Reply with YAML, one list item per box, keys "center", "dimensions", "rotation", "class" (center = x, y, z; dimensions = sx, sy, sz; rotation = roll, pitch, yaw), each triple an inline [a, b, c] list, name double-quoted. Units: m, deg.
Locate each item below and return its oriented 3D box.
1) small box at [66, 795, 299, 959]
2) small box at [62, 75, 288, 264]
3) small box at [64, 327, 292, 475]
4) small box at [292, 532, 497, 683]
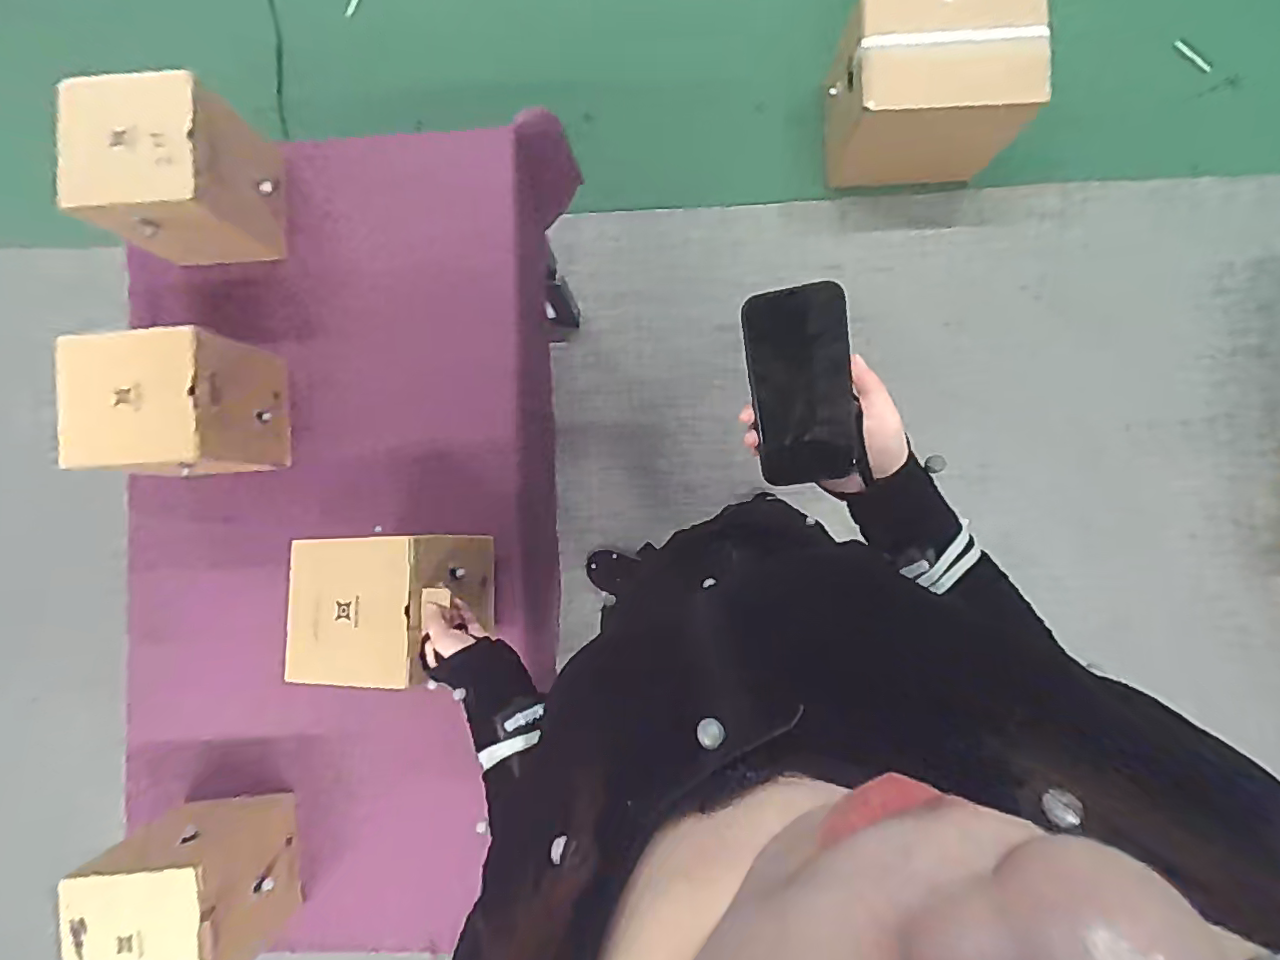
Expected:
- center: [-0.582, 0.543, 0.714]
  dimensions: [0.179, 0.176, 0.168]
  rotation: [-7, 86, 2]
  class: "small box"
- center: [-0.632, -0.415, 0.751]
  dimensions: [0.179, 0.176, 0.168]
  rotation: [-2, 89, 3]
  class: "small box"
- center: [-0.619, -0.097, 0.743]
  dimensions: [0.179, 0.176, 0.168]
  rotation: [-5, 88, 2]
  class: "small box"
- center: [-0.299, 0.149, 0.687]
  dimensions: [0.179, 0.176, 0.168]
  rotation: [-3, 82, 18]
  class: "small box"
